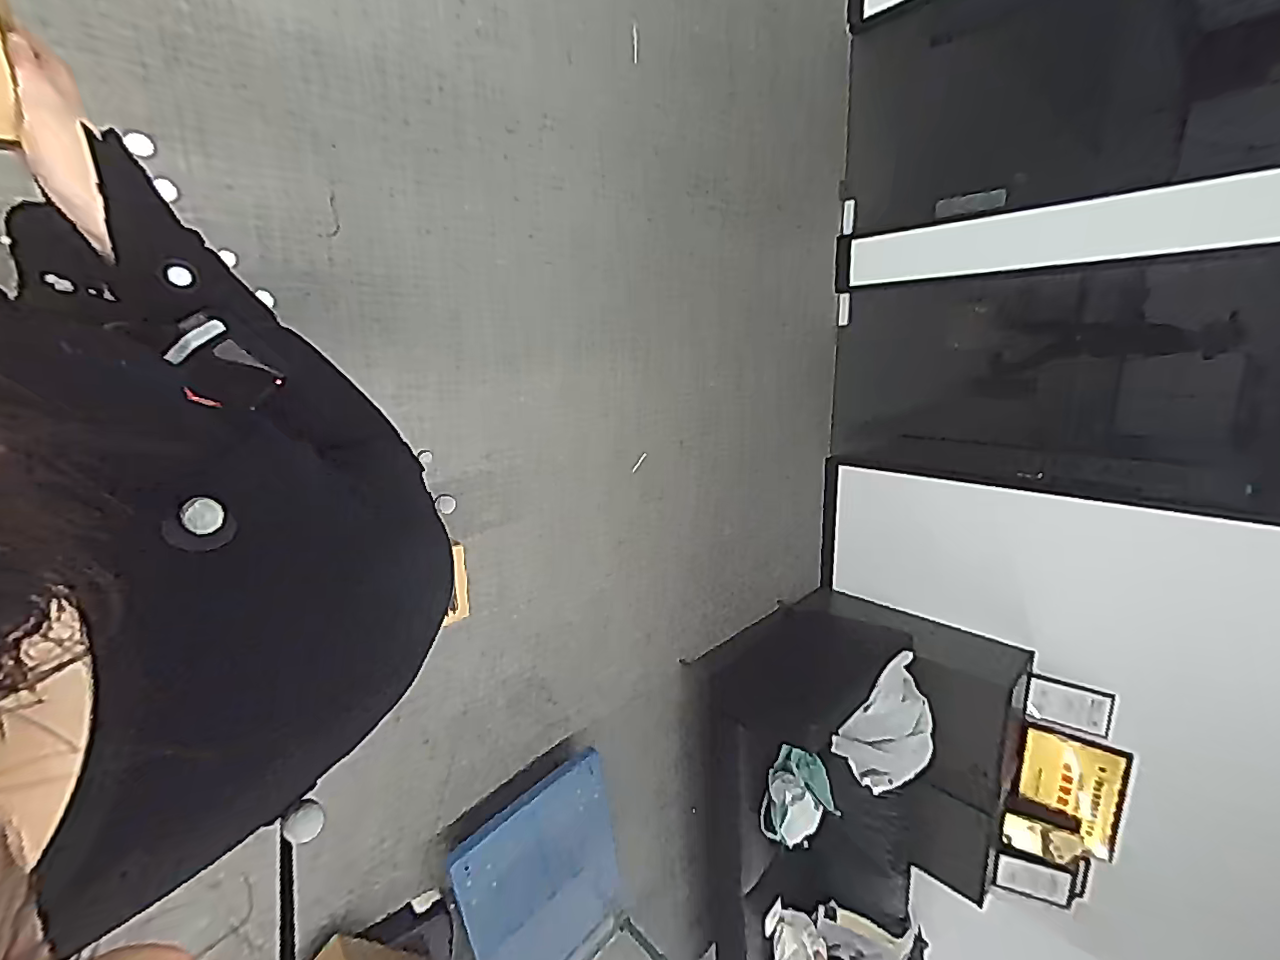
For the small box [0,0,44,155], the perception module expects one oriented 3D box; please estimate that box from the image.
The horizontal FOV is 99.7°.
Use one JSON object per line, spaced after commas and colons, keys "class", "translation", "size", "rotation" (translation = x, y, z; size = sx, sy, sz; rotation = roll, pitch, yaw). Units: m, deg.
{"class": "small box", "translation": [-0.462, -0.289, 0.288], "size": [0.168, 0.176, 0.179], "rotation": [-13, 119, -41]}
